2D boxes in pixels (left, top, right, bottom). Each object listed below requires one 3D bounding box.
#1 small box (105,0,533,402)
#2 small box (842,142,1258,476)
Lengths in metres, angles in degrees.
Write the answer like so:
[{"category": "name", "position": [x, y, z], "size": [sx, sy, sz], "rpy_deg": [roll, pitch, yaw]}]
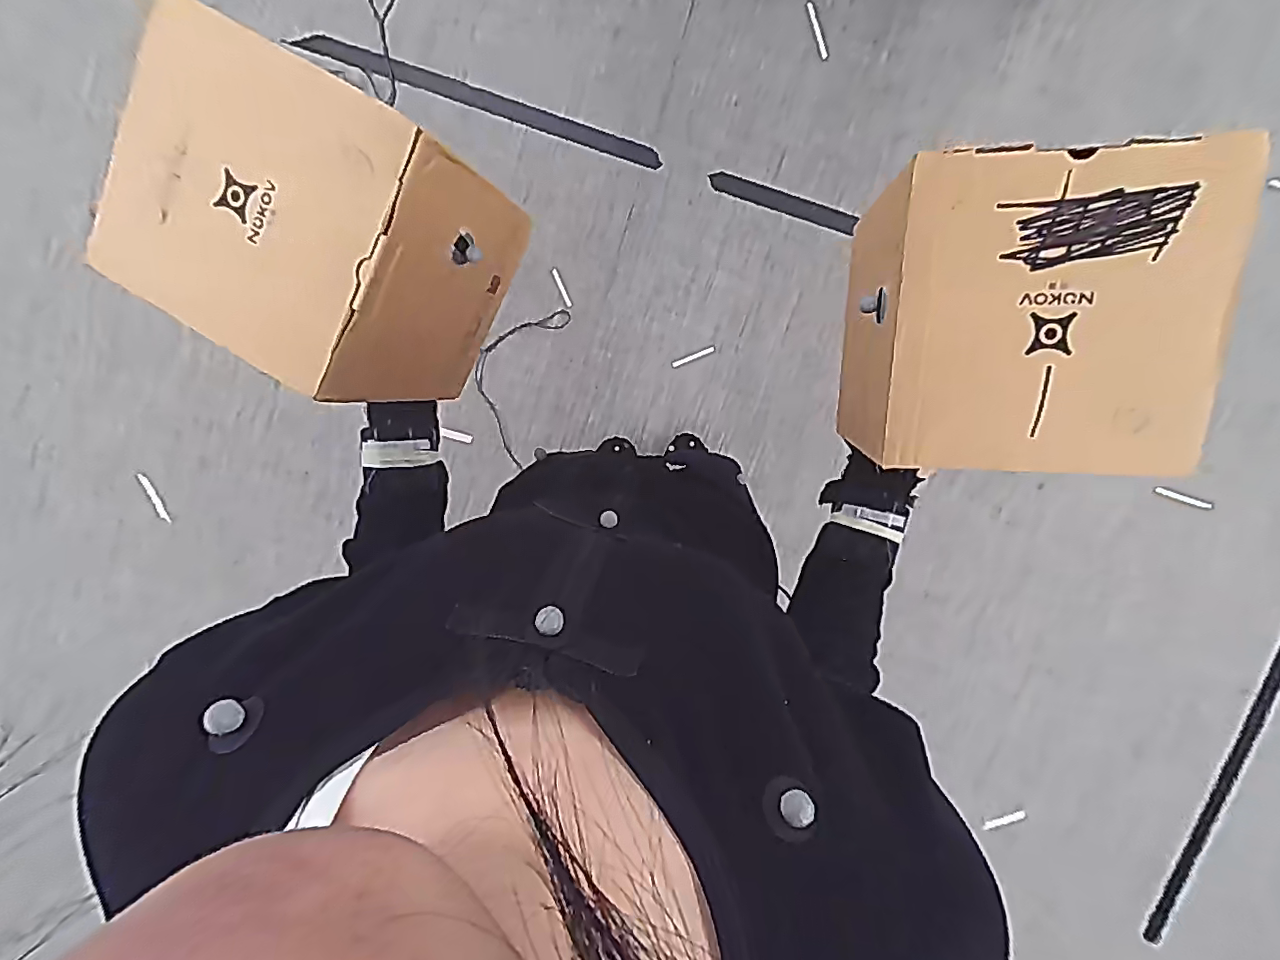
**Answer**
[{"category": "small box", "position": [-0.203, -0.171, 0.387], "size": [0.179, 0.176, 0.168], "rpy_deg": [30, 102, 5]}, {"category": "small box", "position": [0.246, -0.106, 0.380], "size": [0.168, 0.176, 0.179], "rpy_deg": [2, 102, 10]}]
